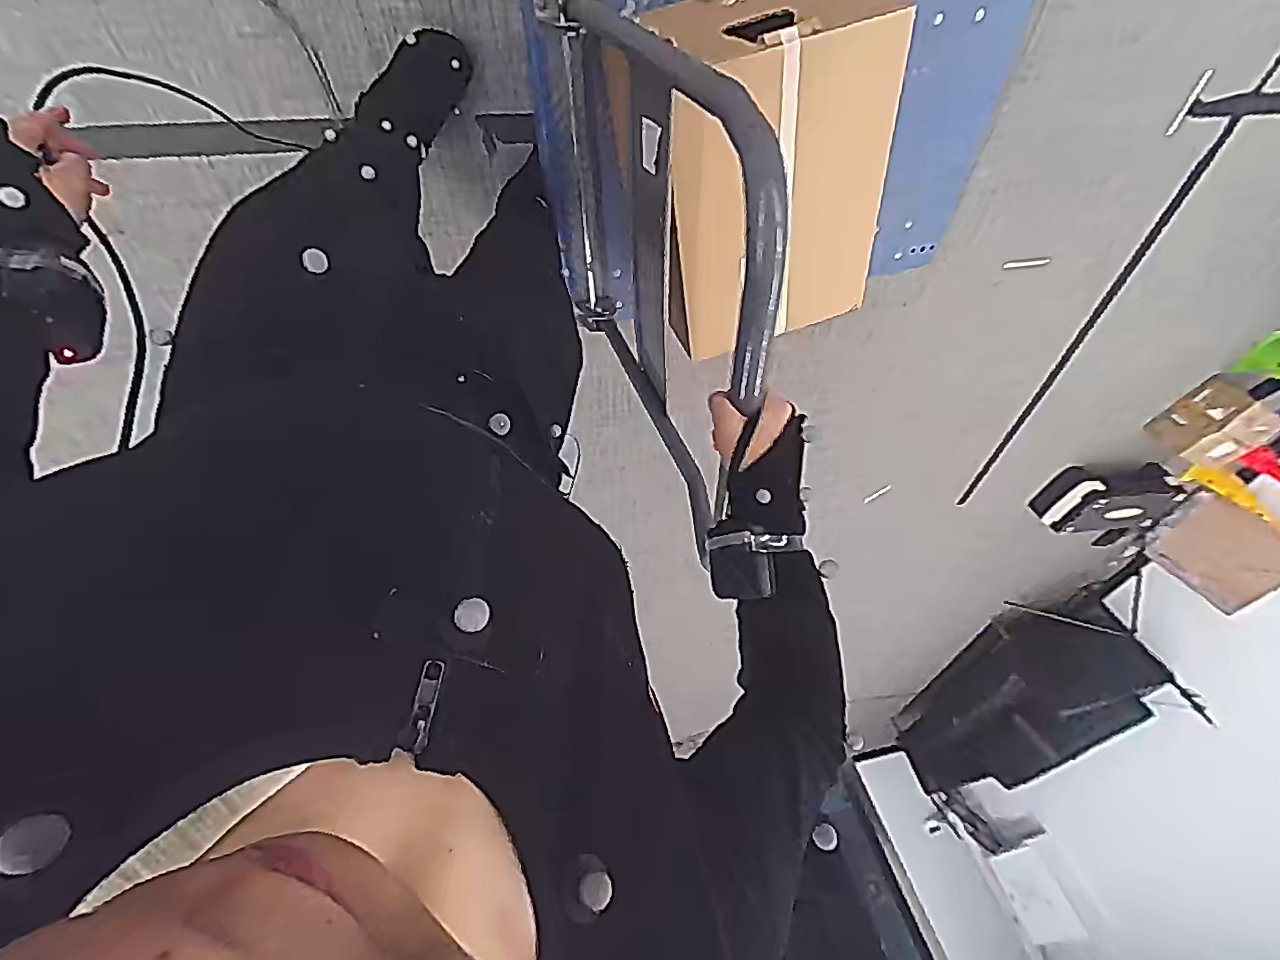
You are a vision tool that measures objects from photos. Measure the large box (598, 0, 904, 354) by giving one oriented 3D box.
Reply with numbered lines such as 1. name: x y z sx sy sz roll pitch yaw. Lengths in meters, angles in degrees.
1. large box: 0.154 -0.488 0.858 0.320 0.320 0.408 -18 141 -3
